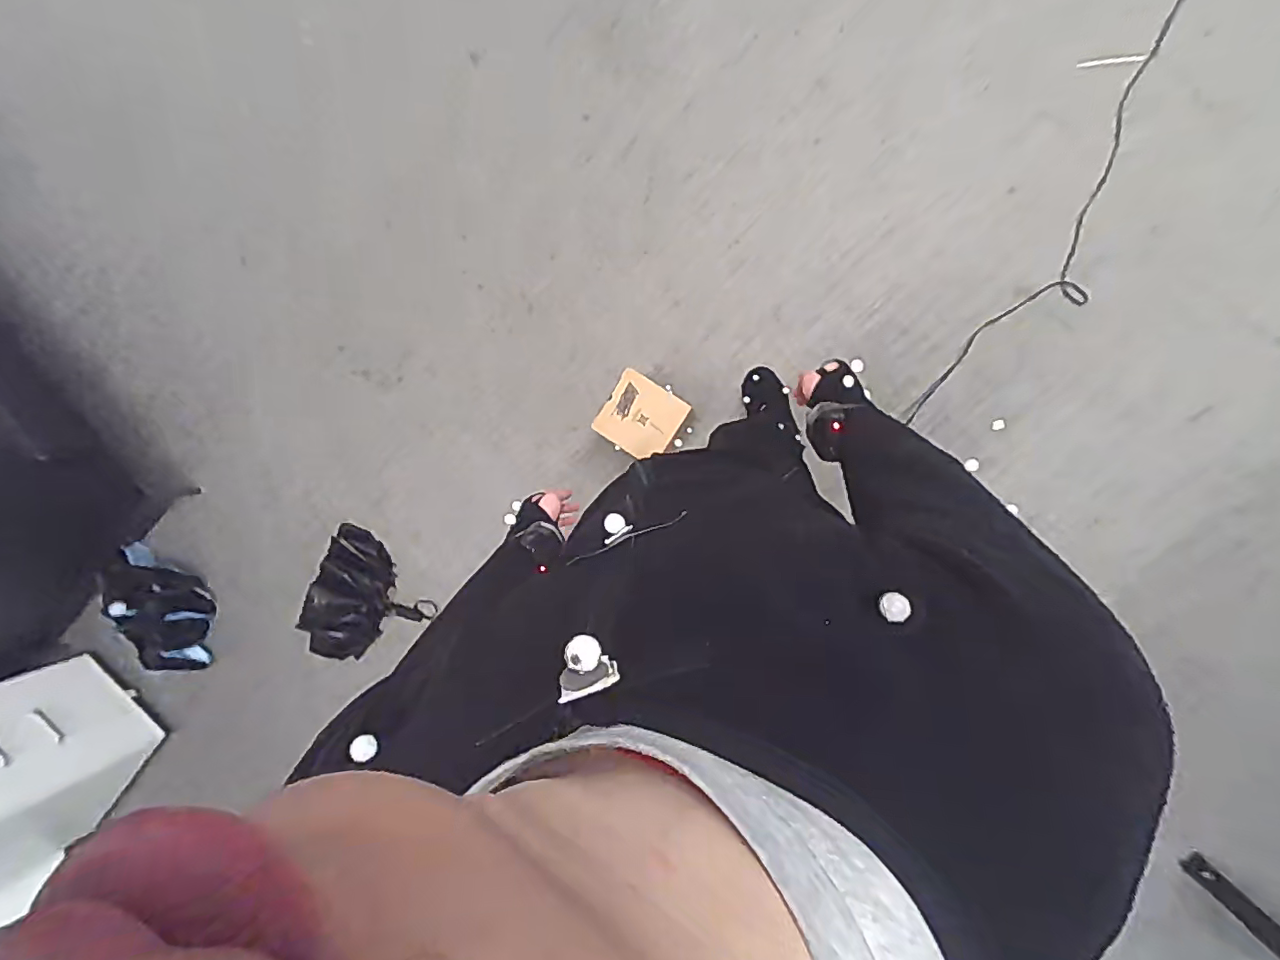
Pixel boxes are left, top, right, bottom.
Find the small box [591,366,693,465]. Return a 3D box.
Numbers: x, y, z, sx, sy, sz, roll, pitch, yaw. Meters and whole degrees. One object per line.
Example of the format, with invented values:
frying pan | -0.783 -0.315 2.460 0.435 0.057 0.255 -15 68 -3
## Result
small box | 0.012 -0.150 1.302 0.179 0.176 0.168 34 98 4
